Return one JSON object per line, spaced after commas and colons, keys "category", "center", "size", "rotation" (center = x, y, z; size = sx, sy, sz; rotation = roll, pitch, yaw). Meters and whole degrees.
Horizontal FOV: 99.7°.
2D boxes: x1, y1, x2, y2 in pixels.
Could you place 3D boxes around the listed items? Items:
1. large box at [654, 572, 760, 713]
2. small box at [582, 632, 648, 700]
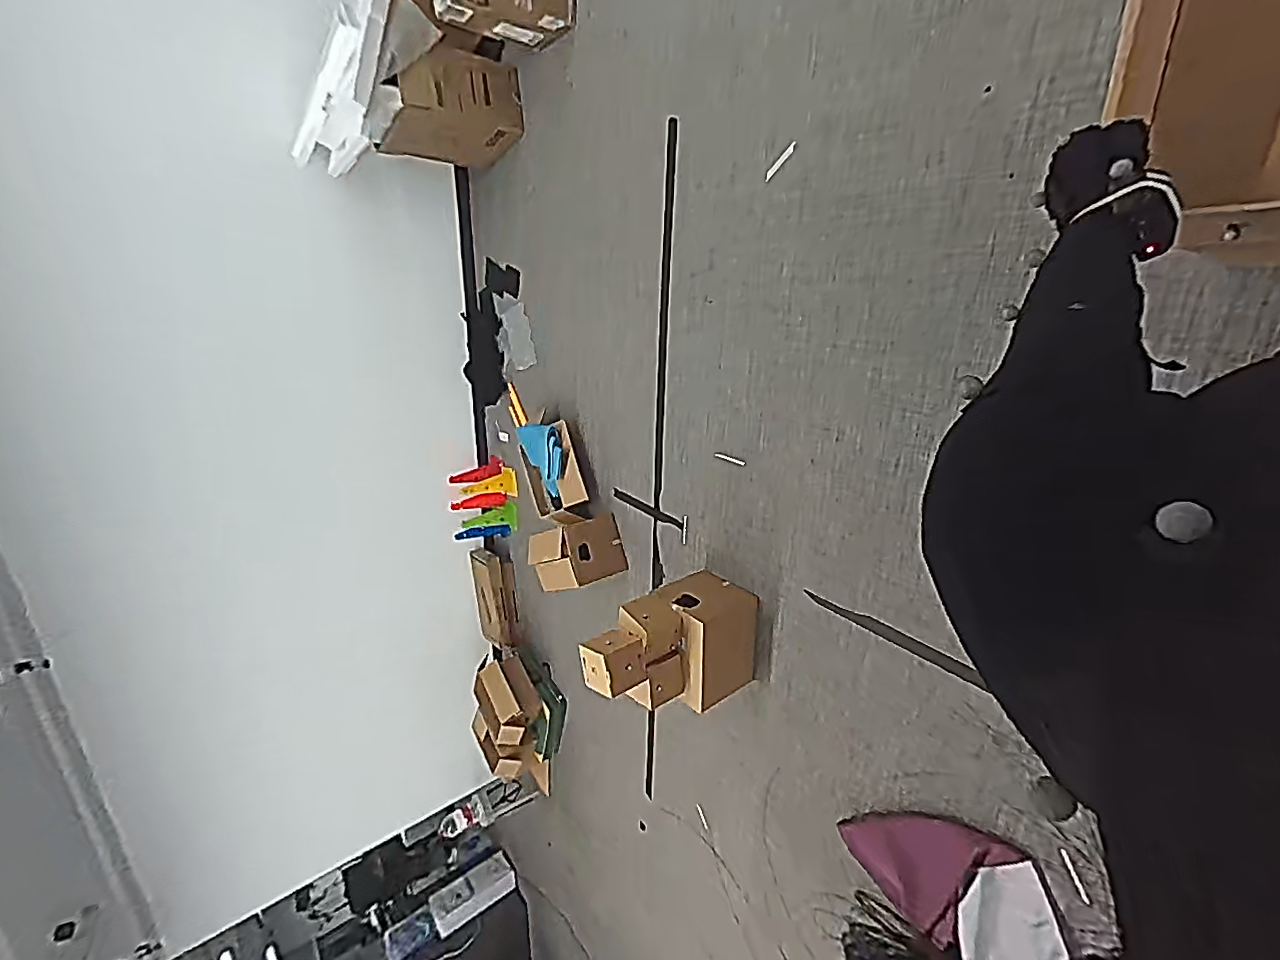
{"category": "large box", "center": [0.271, 0.641, 2.198], "size": [0.320, 0.320, 0.408], "rotation": [17, 113, 48]}
{"category": "small box", "center": [-0.086, 0.678, 1.994], "size": [0.179, 0.176, 0.168], "rotation": [-2, 99, 52]}
